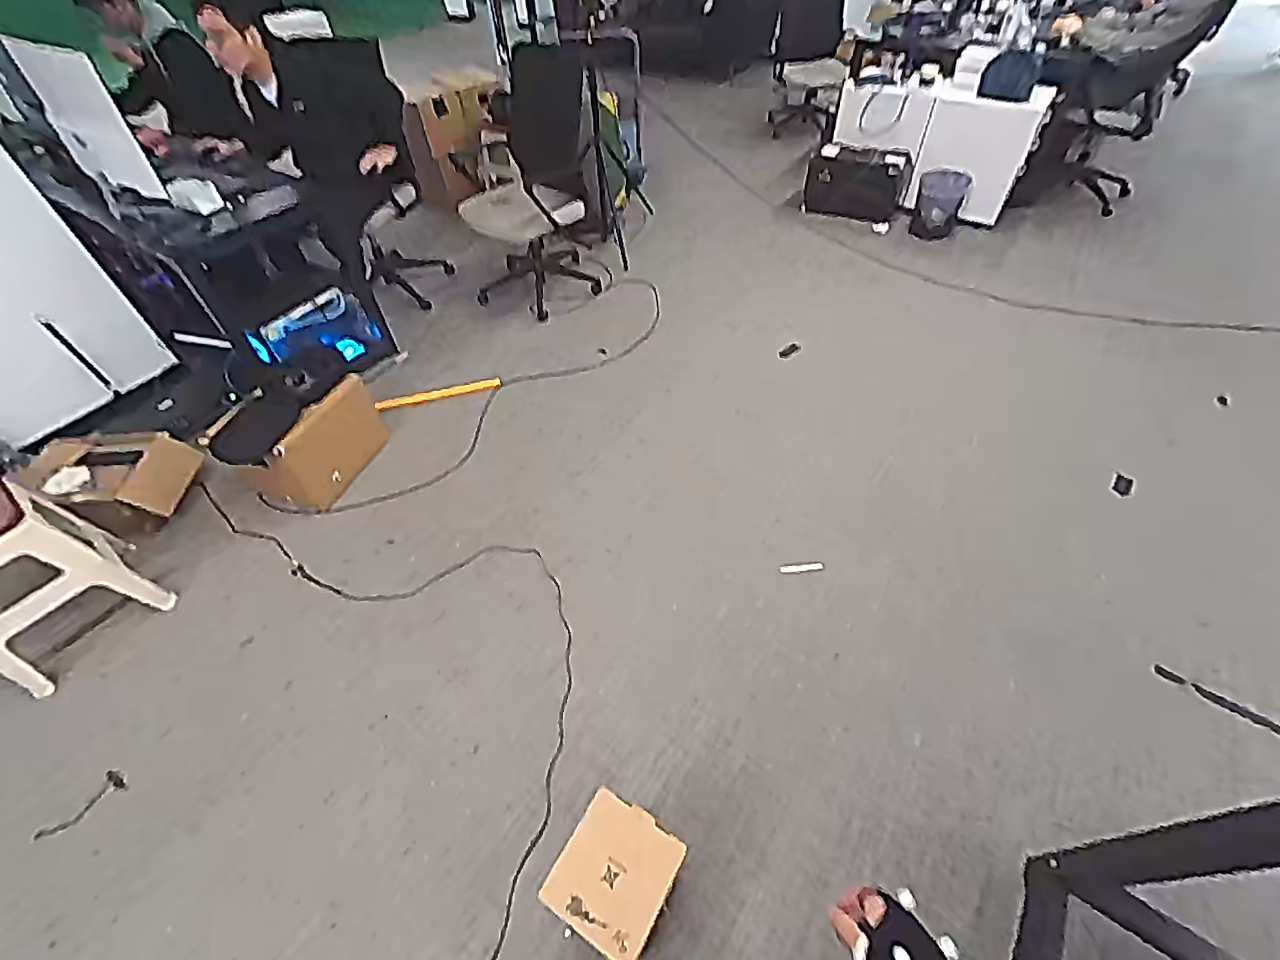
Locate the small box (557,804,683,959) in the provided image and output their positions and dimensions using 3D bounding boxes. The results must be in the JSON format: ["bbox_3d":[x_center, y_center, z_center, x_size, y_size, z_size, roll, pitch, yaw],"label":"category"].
[{"bbox_3d":[-0.029,0.752,1.008,0.168,0.176,0.179,21,51,19],"label":"small box"}]

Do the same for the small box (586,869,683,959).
[{"bbox_3d":[-0.025,0.864,1.125,0.168,0.176,0.179,24,55,22],"label":"small box"}]
